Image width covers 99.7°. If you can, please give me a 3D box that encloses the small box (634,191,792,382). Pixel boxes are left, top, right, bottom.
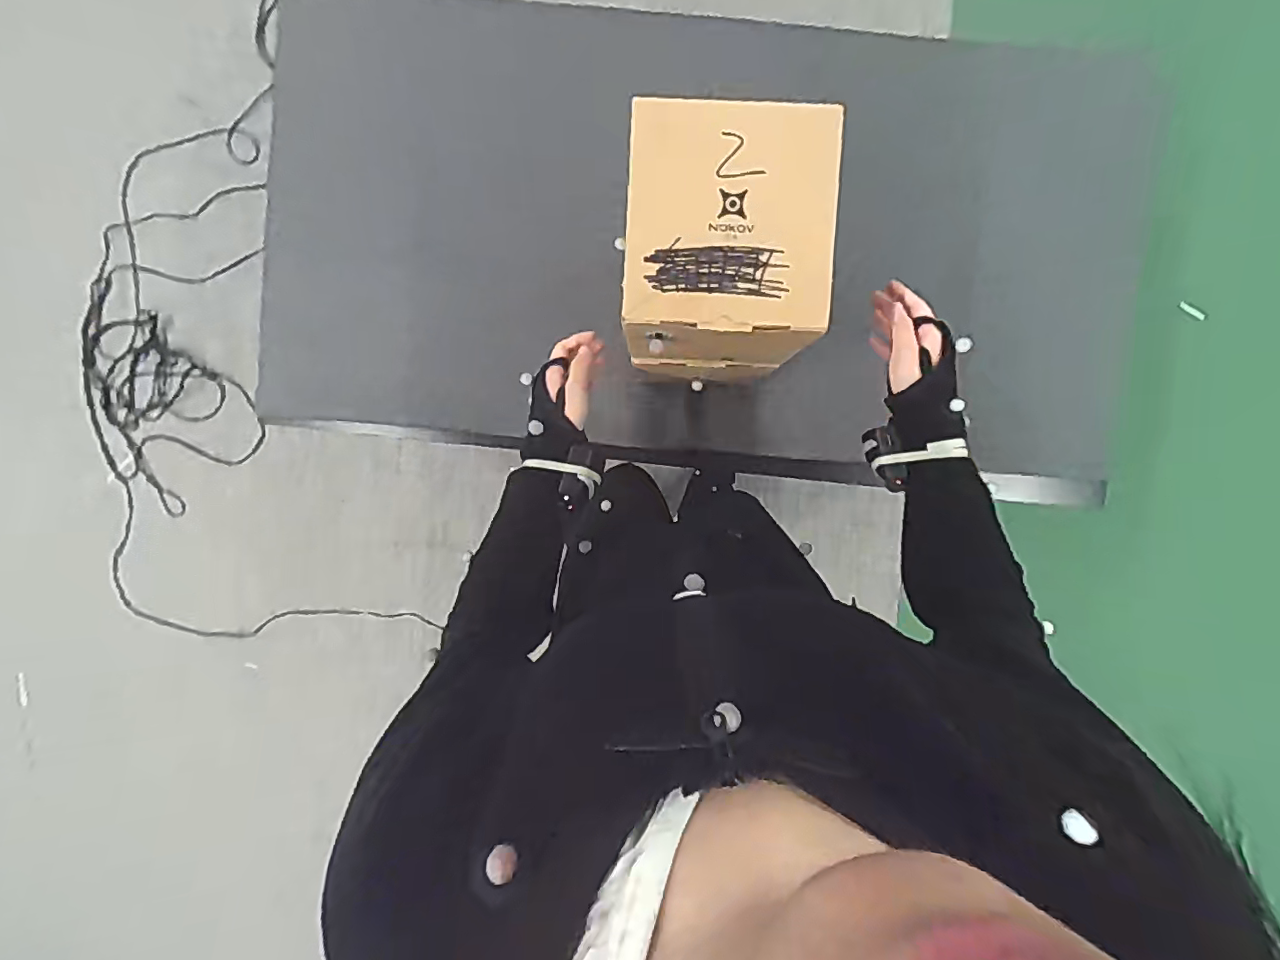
[{"bbox_3d":[0.078,-0.221,0.655,0.168,0.176,0.179,2,93,2],"label":"small box"}]
